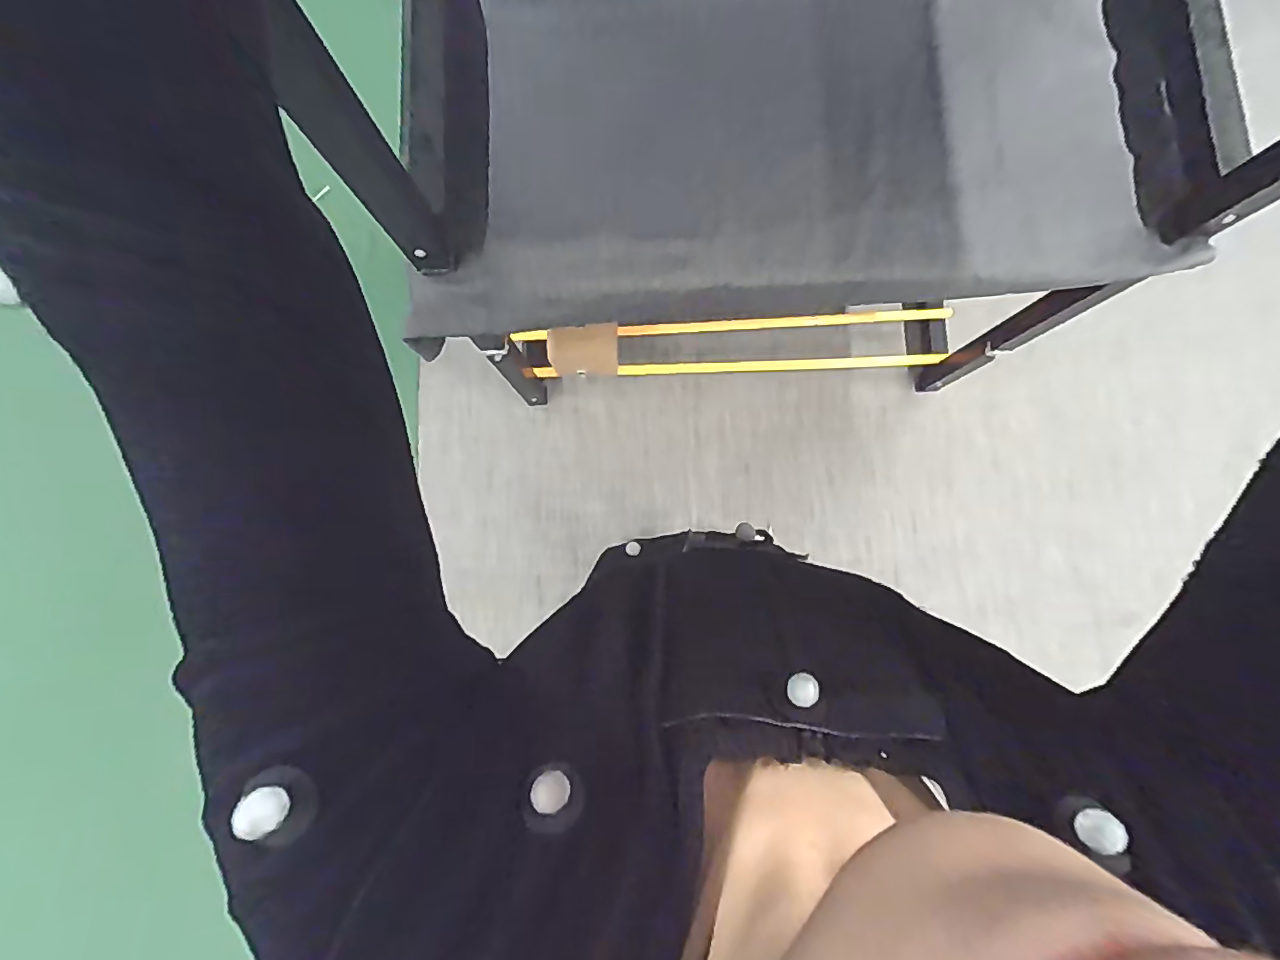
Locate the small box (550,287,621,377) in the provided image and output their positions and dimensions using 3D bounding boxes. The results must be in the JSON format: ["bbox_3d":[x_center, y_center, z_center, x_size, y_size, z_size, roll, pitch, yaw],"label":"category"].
[{"bbox_3d":[-0.135,-0.374,1.386,0.168,0.176,0.179,-2,85,1],"label":"small box"}]
